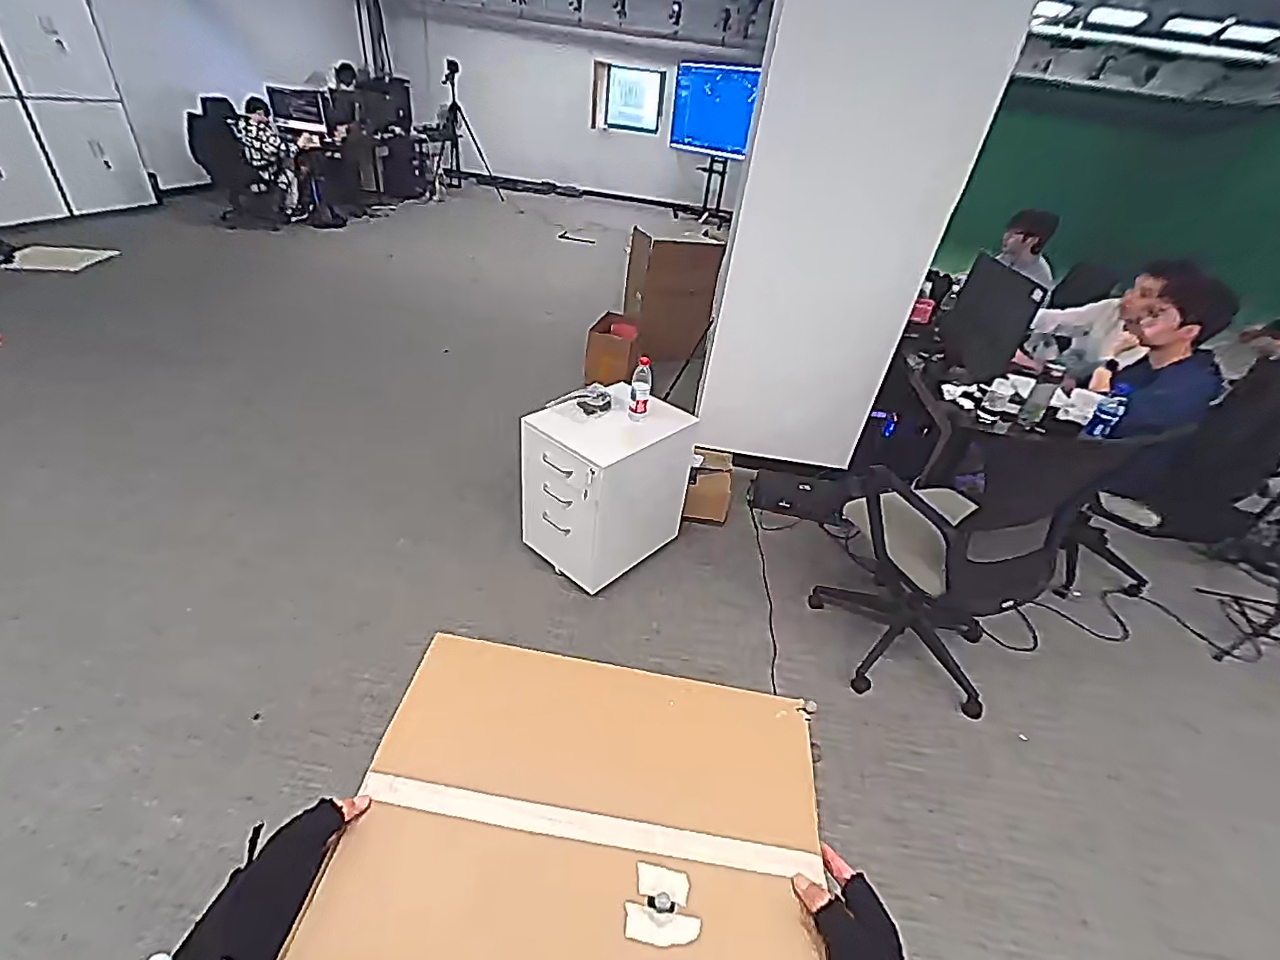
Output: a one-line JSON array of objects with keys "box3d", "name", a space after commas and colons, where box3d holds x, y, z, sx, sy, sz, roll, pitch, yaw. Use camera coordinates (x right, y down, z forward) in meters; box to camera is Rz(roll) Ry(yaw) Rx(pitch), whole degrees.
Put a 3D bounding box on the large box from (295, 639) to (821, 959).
[{"box3d": [-0.062, 0.417, 0.578, 0.408, 0.320, 0.320, 11, 41, 1], "name": "large box"}]
